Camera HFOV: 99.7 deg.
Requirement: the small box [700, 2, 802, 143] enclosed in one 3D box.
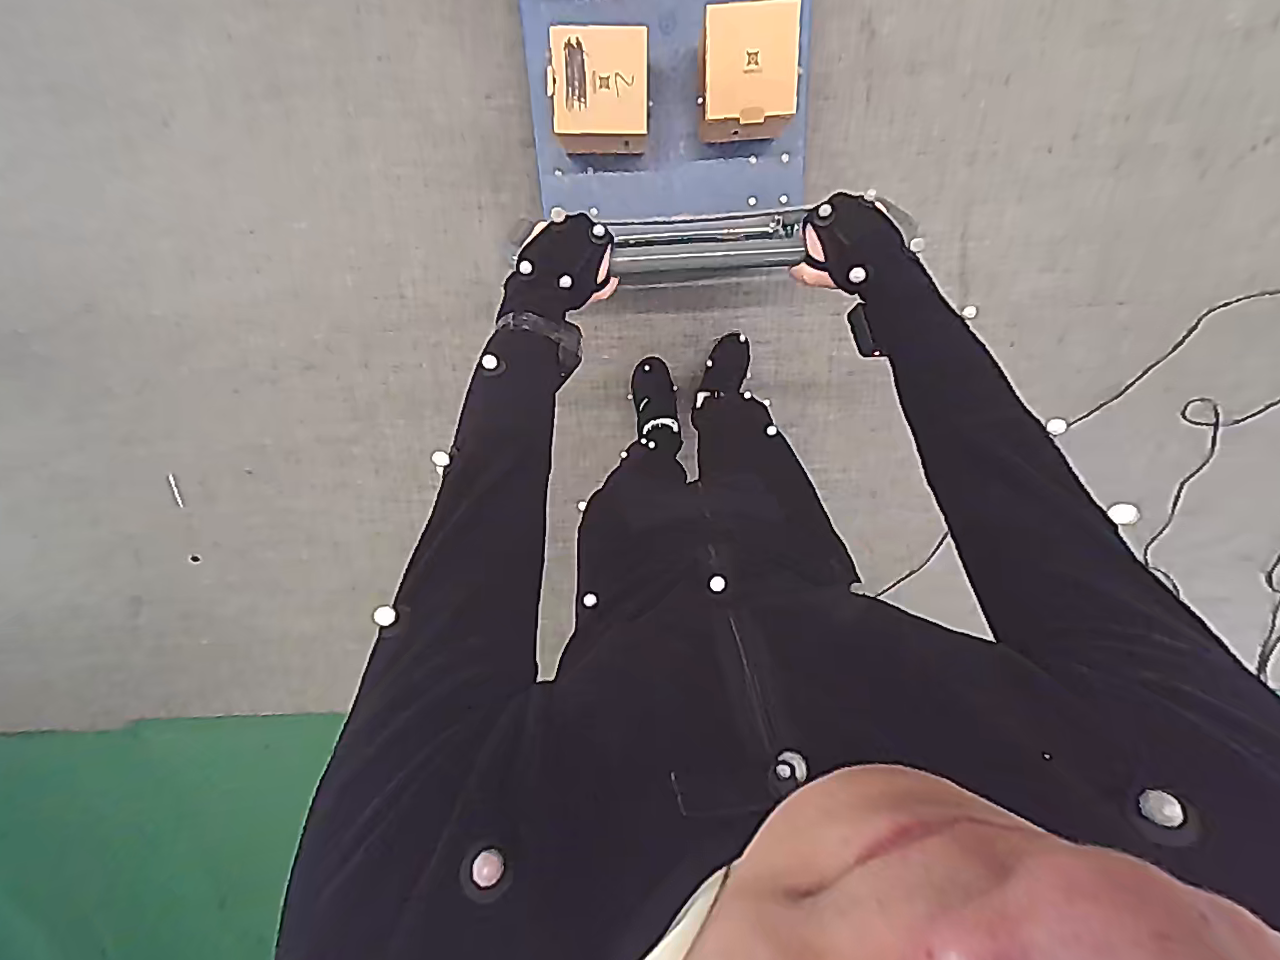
[{"bbox_3d":[0.206,-0.773,1.043,0.168,0.176,0.179,-3,111,1],"label":"small box"}]
